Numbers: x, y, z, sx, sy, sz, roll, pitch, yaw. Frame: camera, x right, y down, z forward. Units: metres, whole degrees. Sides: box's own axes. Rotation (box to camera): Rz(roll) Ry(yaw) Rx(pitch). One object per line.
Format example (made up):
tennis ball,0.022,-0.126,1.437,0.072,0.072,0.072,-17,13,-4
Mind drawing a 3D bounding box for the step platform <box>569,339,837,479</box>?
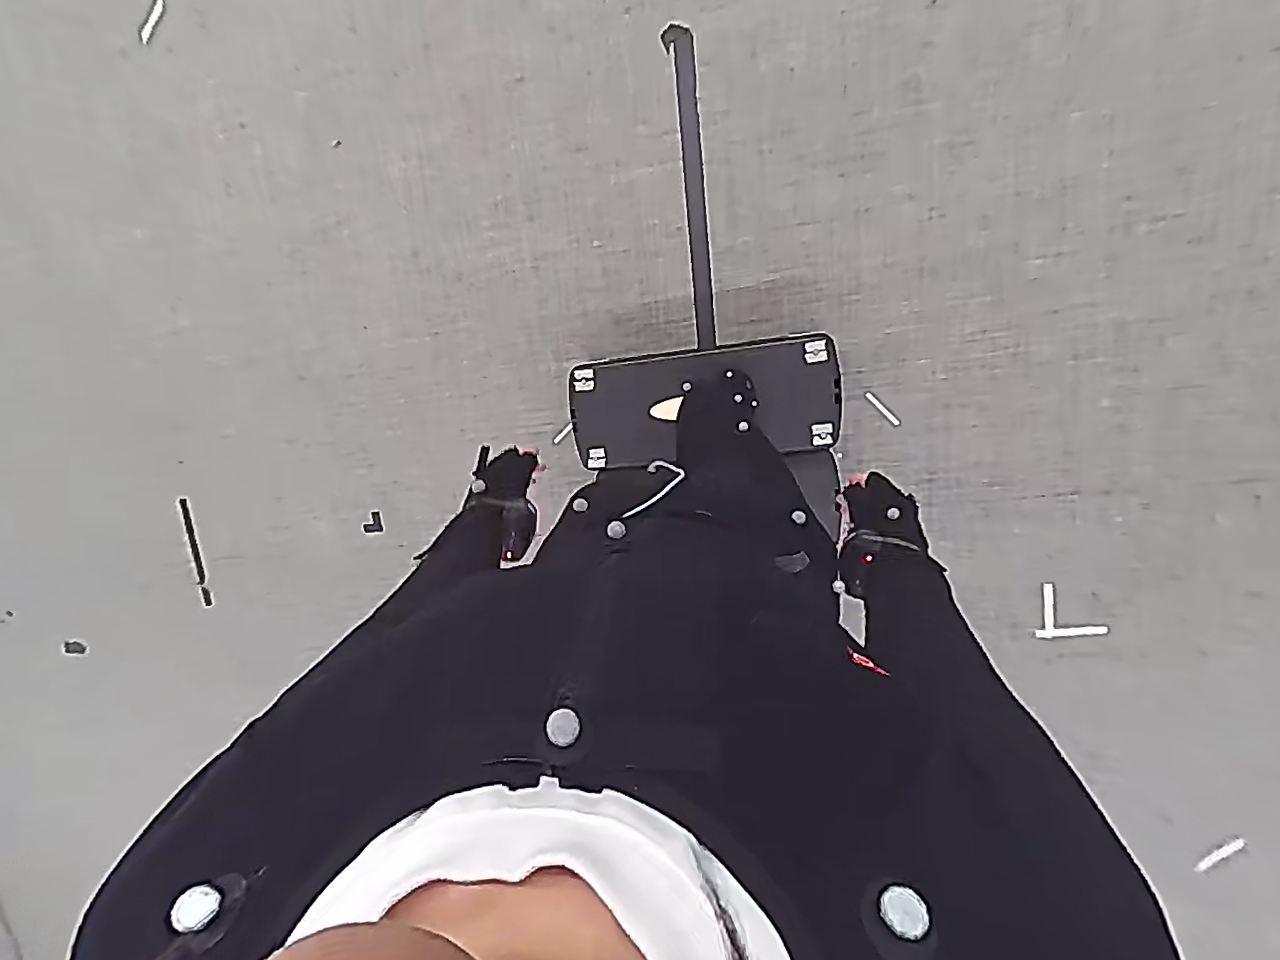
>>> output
step platform,0.157,-0.181,1.423,0.684,0.204,0.286,-6,102,10
